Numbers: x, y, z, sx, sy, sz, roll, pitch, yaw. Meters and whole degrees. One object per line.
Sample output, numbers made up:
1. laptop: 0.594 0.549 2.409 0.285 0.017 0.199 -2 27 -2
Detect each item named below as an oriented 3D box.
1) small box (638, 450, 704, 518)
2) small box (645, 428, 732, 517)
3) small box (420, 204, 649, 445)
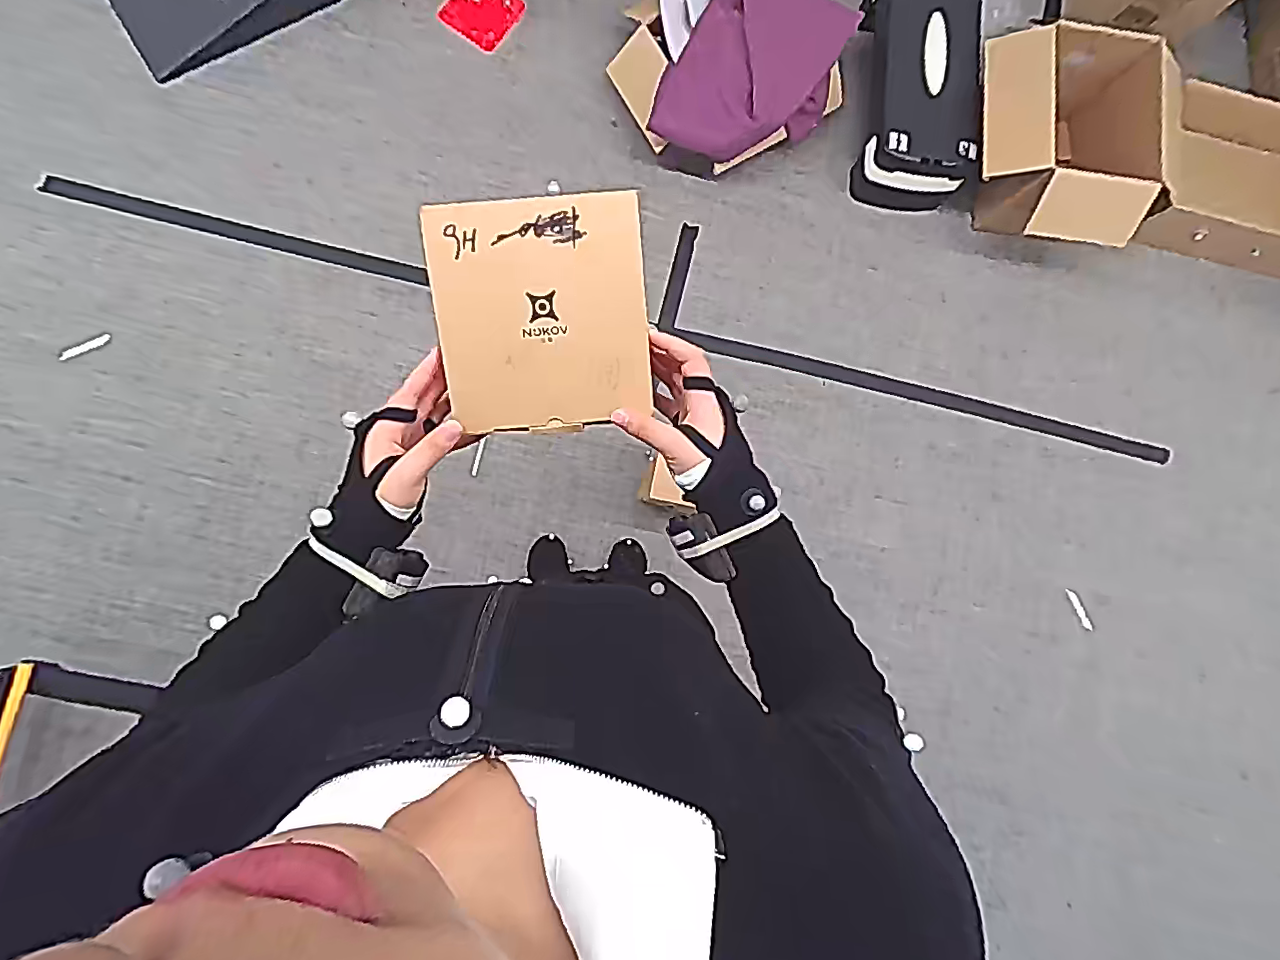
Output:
1. small box: 0.101 0.005 1.465 0.179 0.176 0.168 16 84 -4
2. small box: 0.109 -0.012 1.303 0.168 0.176 0.179 11 85 -2
3. small box: -0.081 -0.140 0.505 0.168 0.176 0.179 -6 105 -2
